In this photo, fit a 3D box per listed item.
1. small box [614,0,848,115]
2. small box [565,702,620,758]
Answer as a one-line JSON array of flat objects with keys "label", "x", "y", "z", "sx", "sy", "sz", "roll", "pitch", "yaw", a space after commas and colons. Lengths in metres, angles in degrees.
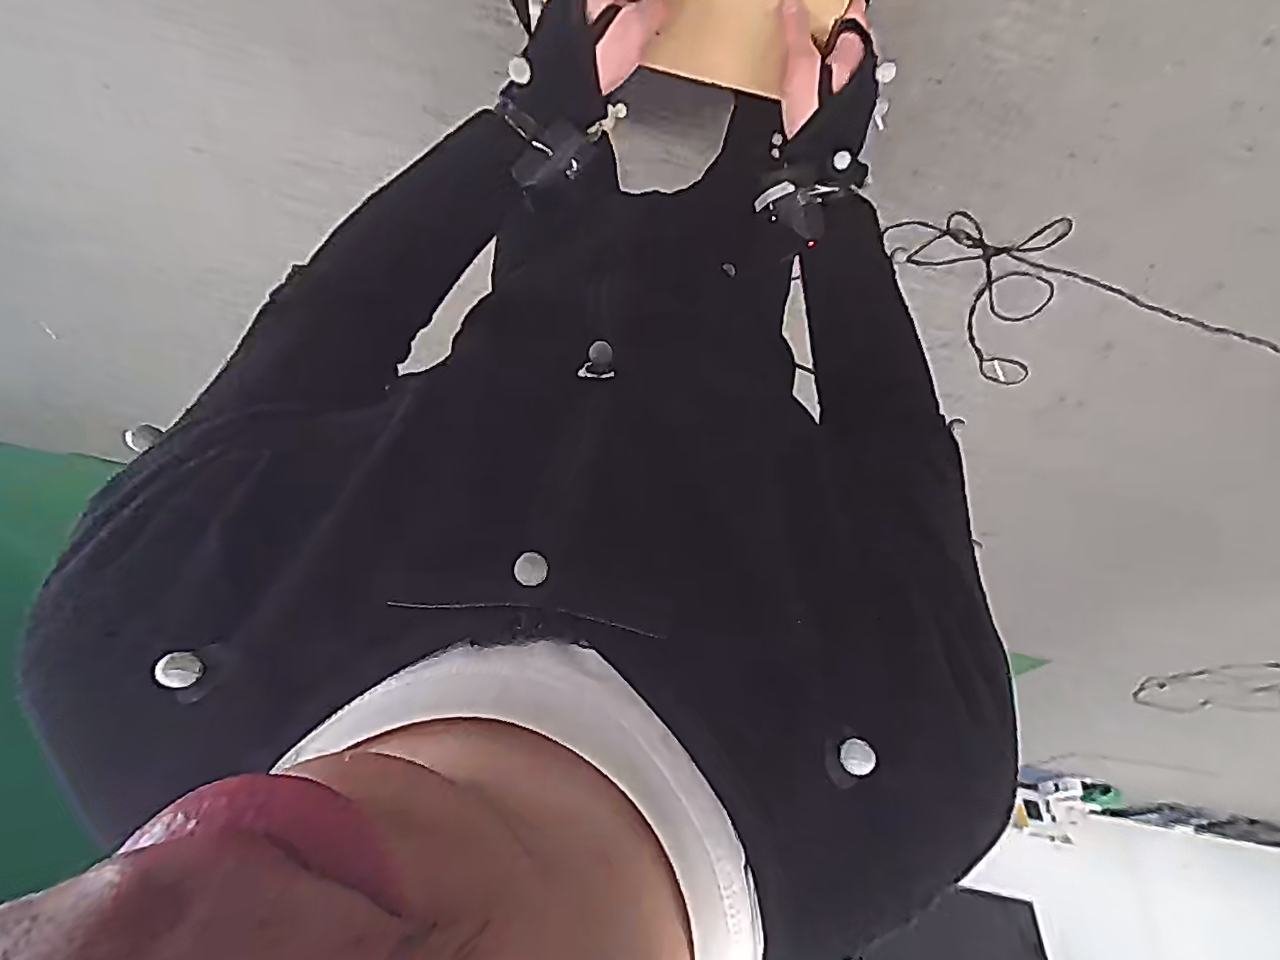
[{"label": "small box", "x": 0.085, "y": -0.451, "z": 0.458, "sx": 0.179, "sy": 0.176, "sz": 0.168, "roll": 12, "pitch": 142, "yaw": -4}, {"label": "small box", "x": -0.191, "y": 1.012, "z": 2.195, "sx": 0.179, "sy": 0.176, "sz": 0.168, "roll": 15, "pitch": 144, "yaw": -7}]
